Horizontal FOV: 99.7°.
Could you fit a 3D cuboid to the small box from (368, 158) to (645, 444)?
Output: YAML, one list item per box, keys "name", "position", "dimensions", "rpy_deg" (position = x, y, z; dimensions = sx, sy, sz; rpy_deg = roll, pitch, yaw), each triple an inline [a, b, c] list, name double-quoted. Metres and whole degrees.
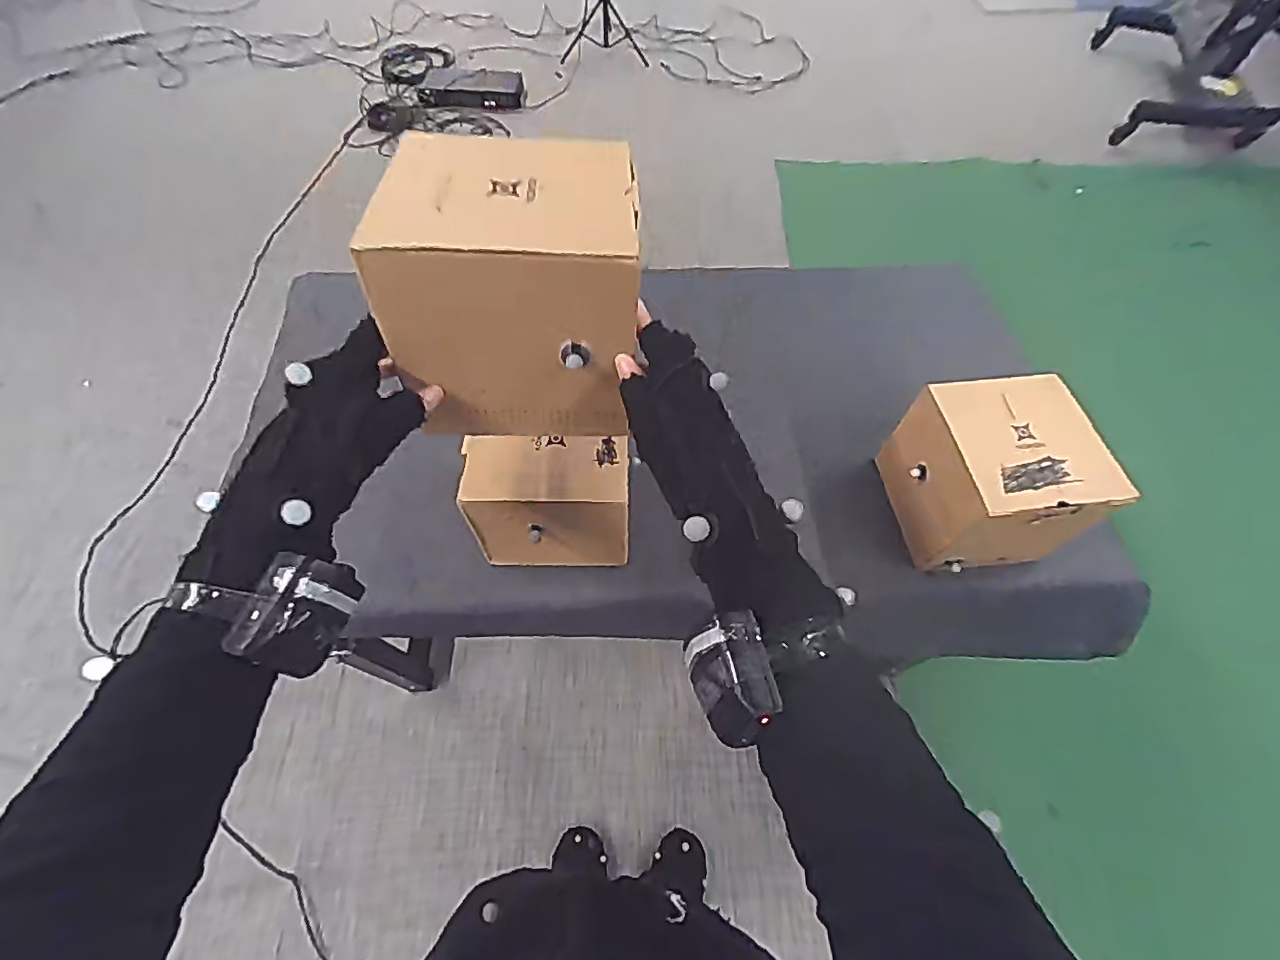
- name: "small box"
  position: [-0.091, -0.143, 0.453]
  dimensions: [0.179, 0.176, 0.168]
  rpy_deg: [-1, 52, -3]

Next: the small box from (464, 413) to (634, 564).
- name: "small box"
  position: [-0.097, -0.001, 0.673]
  dimensions: [0.179, 0.176, 0.168]
  rpy_deg: [0, 58, 0]

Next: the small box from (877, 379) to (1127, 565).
- name: "small box"
  position: [0.428, -0.001, 0.678]
  dimensions: [0.168, 0.176, 0.179]
  rpy_deg: [-5, 59, -3]
